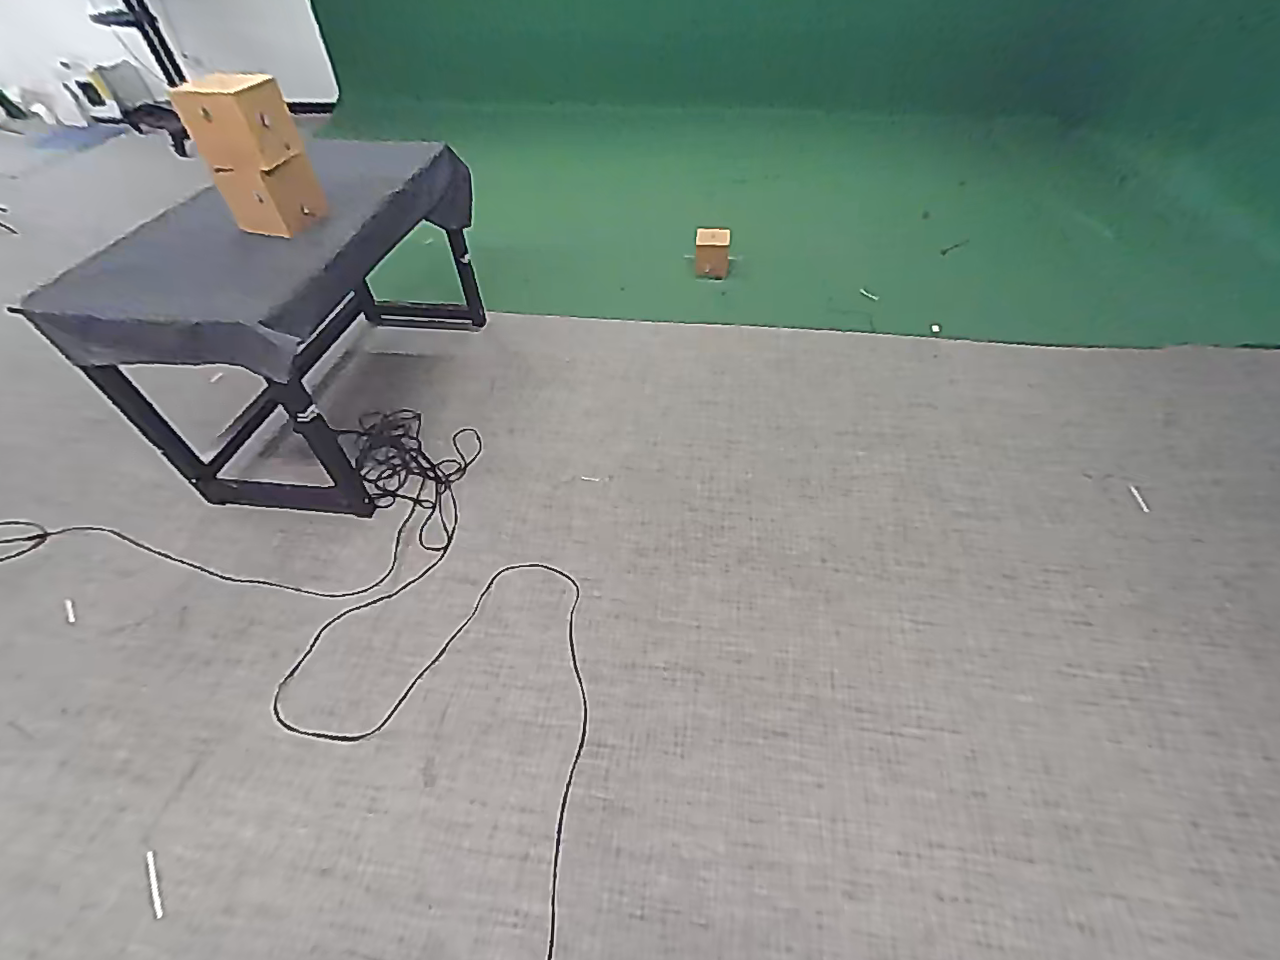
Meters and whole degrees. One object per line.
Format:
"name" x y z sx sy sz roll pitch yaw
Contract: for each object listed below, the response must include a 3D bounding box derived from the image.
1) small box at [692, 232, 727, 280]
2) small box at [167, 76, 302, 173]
"small box" 0.353 -1.147 2.761 0.168 0.176 0.179 4 49 6
"small box" -1.000 -0.888 1.356 0.179 0.176 0.168 6 49 7
